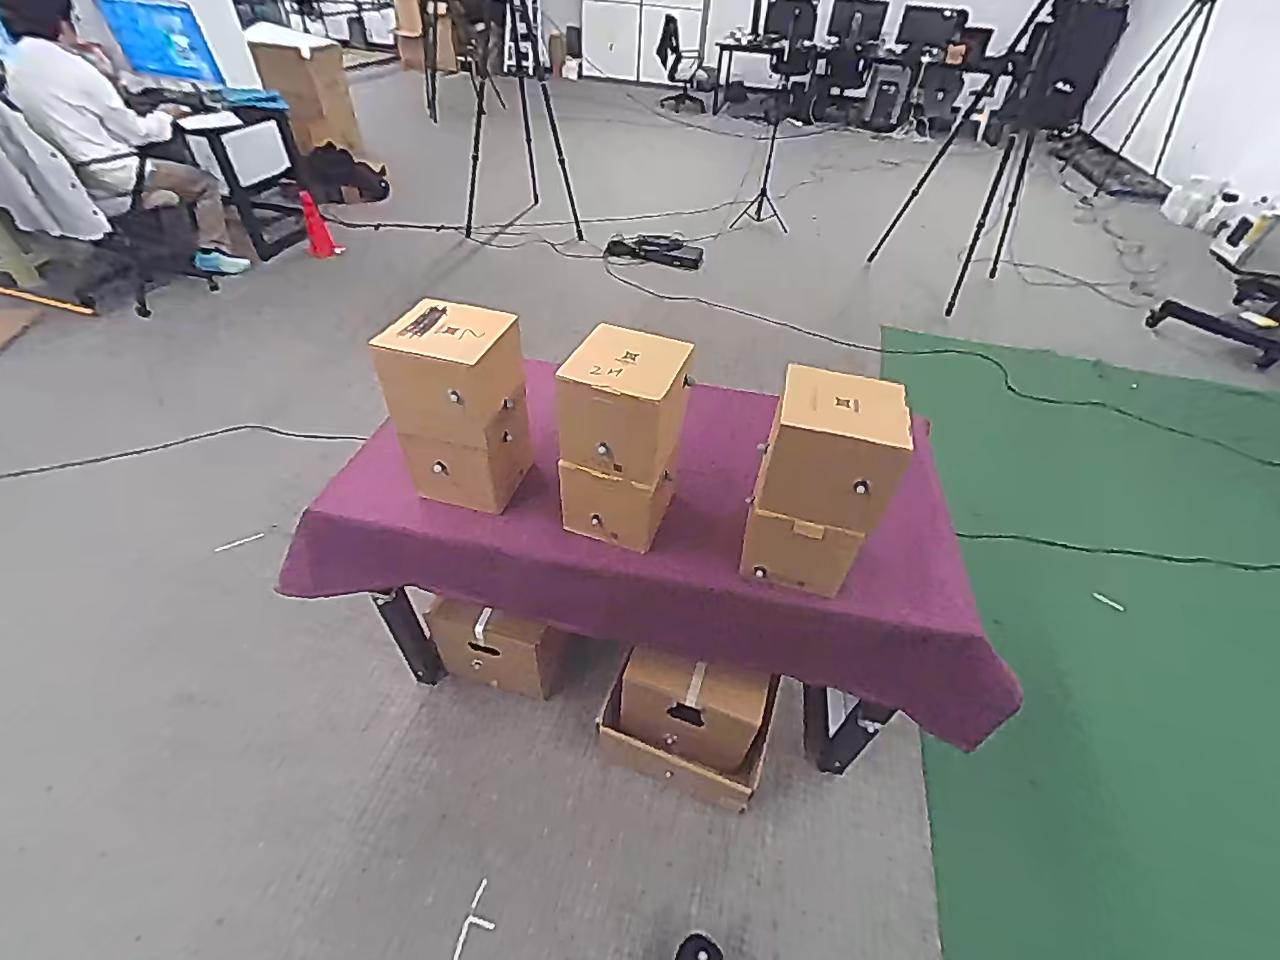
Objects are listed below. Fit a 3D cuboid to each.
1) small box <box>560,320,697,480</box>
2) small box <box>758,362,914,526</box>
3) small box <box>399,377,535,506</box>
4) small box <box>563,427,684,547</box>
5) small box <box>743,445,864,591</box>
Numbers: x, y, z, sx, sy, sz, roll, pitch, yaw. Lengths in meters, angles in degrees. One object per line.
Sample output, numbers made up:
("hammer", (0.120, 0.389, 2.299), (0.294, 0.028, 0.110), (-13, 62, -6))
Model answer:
("small box", (-0.018, -0.130, 0.882), (0.168, 0.176, 0.179), (17, 47, 13))
("small box", (0.290, -0.053, 0.822), (0.179, 0.176, 0.168), (13, 44, 10))
("small box", (-0.318, -0.071, 1.033), (0.179, 0.176, 0.168), (12, 46, 9))
("small box", (-0.029, -0.009, 0.993), (0.168, 0.176, 0.179), (16, 47, 12))
("small box", (0.278, 0.065, 0.936), (0.168, 0.176, 0.179), (12, 44, 9))
